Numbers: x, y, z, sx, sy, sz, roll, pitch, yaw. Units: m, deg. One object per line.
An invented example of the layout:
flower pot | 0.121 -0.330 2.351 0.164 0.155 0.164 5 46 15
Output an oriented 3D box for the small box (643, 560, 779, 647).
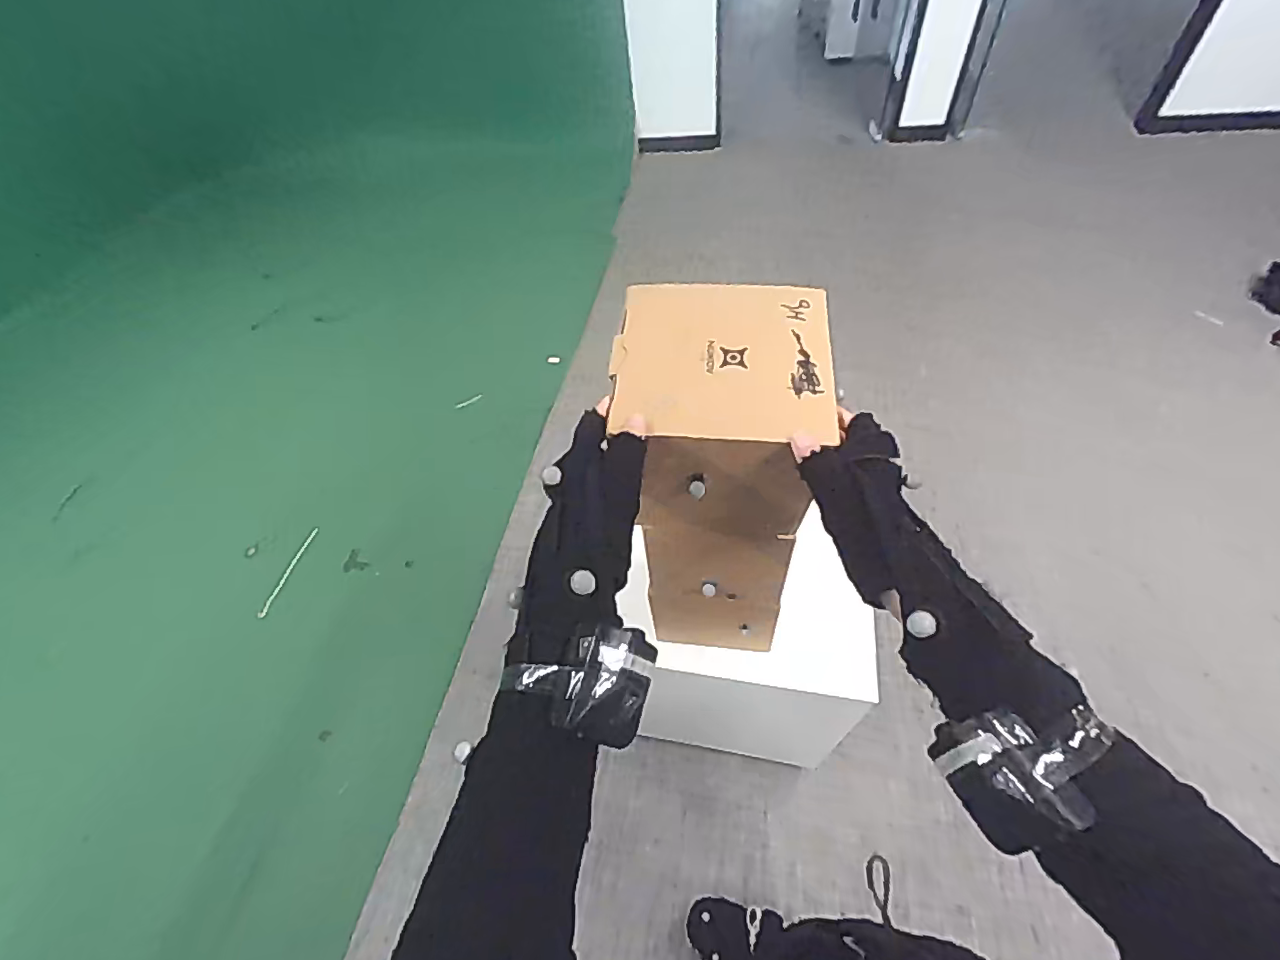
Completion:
small box | 0.110 0.138 0.805 0.179 0.176 0.168 2 53 11

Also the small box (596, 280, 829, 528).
small box | 0.067 -0.064 0.507 0.179 0.176 0.168 3 62 7

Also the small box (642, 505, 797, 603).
small box | 0.098 0.033 0.679 0.168 0.176 0.179 1 52 8
